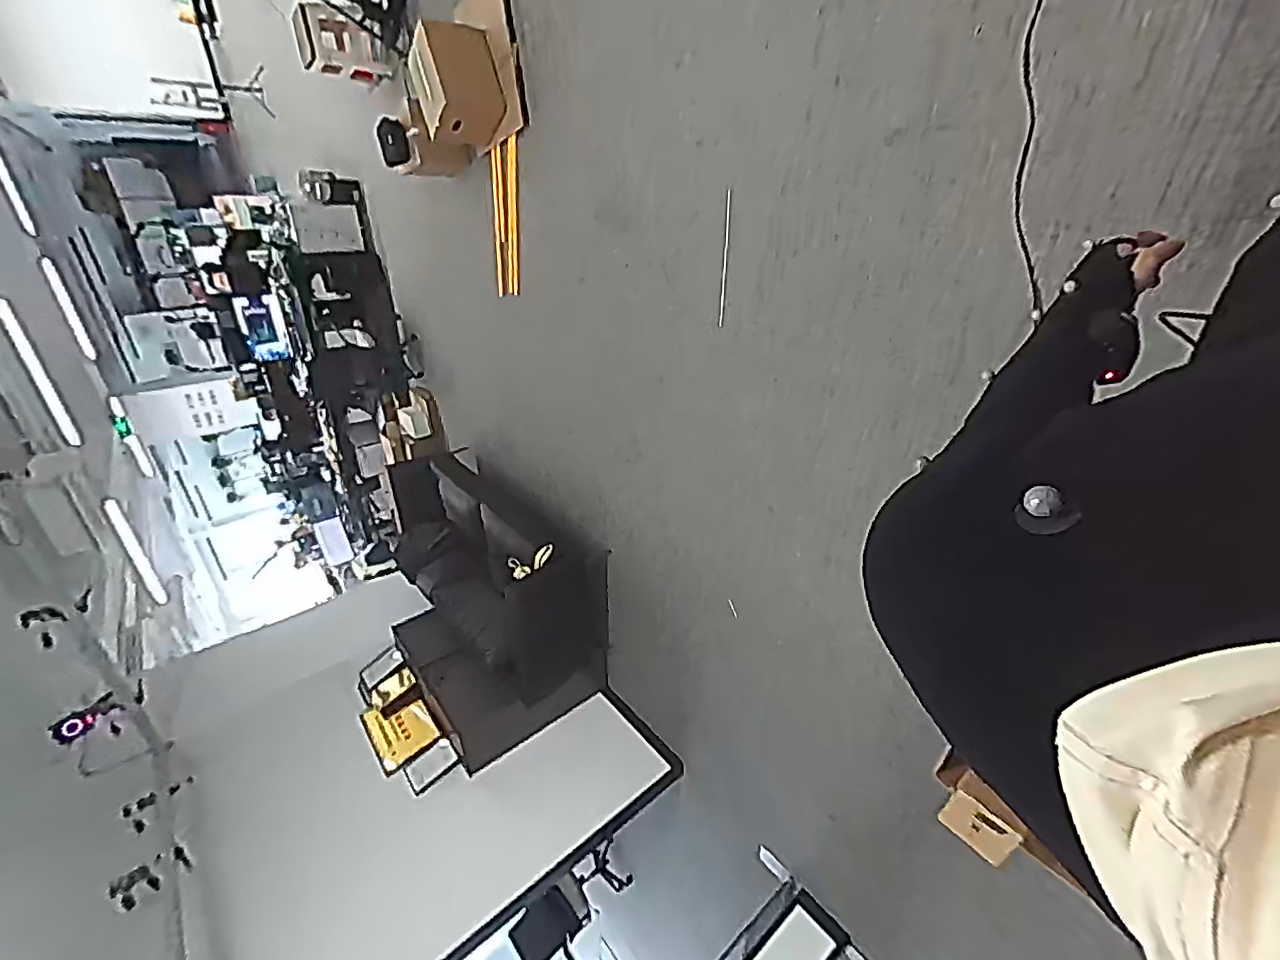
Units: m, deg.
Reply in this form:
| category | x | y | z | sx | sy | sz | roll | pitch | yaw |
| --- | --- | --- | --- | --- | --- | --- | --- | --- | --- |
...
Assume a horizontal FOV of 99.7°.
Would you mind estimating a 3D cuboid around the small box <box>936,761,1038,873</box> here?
| category | x | y | z | sx | sy | sz | roll | pitch | yaw |
| --- | --- | --- | --- | --- | --- | --- | --- | --- | --- |
| small box | 0.975 | 0.936 | 1.514 | 0.168 | 0.176 | 0.179 | 35 | 134 | 37 |

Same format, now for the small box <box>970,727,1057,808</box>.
| category | x | y | z | sx | sy | sz | roll | pitch | yaw |
| --- | --- | --- | --- | --- | --- | --- | --- | --- | --- |
| small box | 1.099 | 0.886 | 1.609 | 0.168 | 0.176 | 0.179 | 33 | 132 | 38 |
